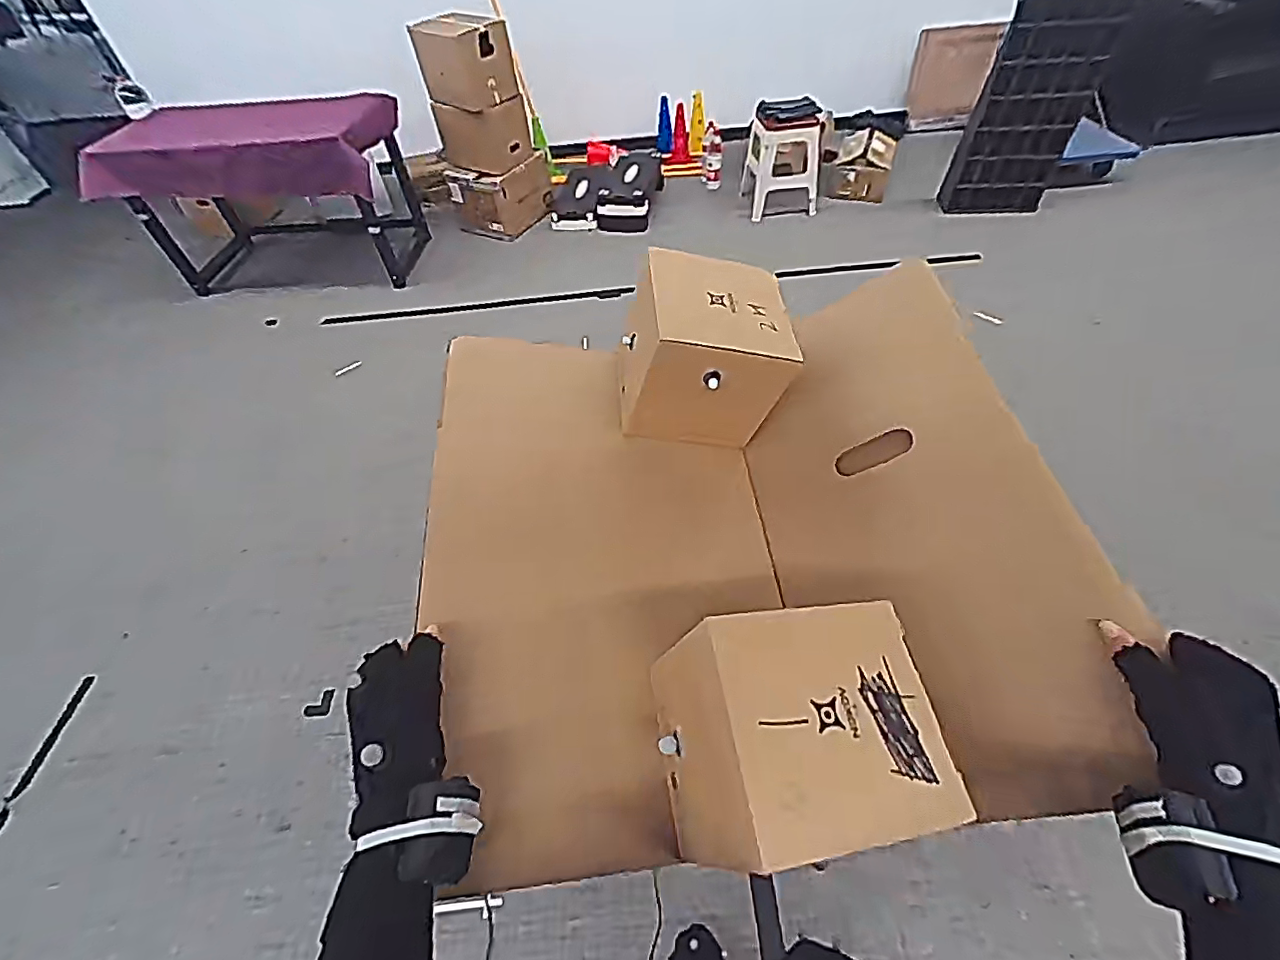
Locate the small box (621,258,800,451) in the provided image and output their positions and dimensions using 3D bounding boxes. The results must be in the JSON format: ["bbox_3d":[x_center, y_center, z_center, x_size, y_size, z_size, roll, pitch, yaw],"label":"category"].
[{"bbox_3d":[0.075,-0.154,0.703,0.179,0.176,0.168,6,56,-15],"label":"small box"}]

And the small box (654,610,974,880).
[{"bbox_3d":[0.127,0.223,0.467,0.179,0.176,0.168,-1,58,-17],"label":"small box"}]
